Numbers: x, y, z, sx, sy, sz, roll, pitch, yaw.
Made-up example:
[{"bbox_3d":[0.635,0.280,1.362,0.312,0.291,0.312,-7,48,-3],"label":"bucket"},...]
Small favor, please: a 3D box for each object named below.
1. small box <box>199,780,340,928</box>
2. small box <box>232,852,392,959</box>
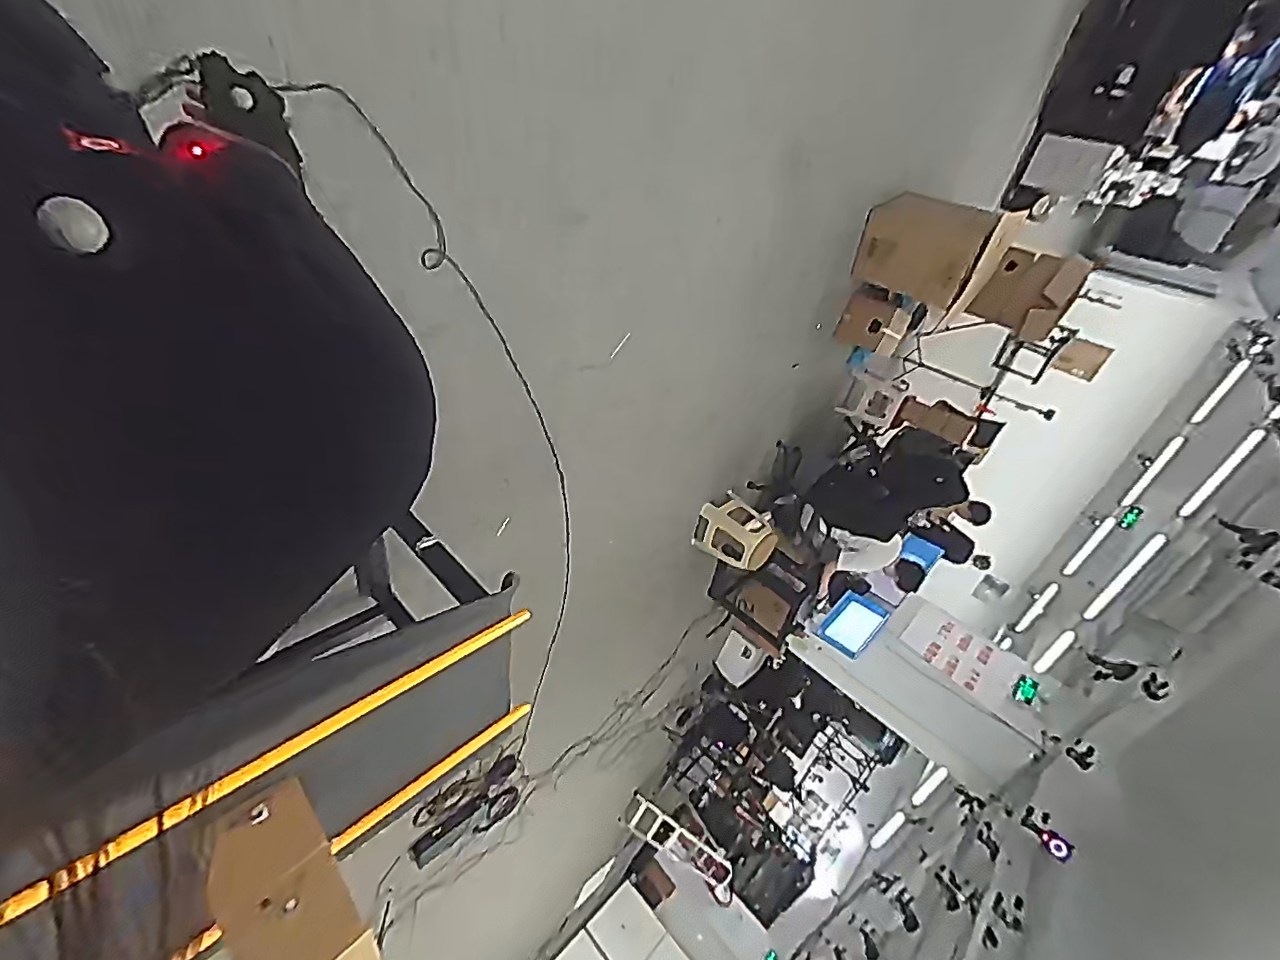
[{"bbox_3d":[-0.659,0.694,0.987,0.168,0.176,0.179,-29,139,-39],"label":"small box"},{"bbox_3d":[-0.542,0.777,0.905,0.168,0.176,0.179,-27,139,-40],"label":"small box"}]
